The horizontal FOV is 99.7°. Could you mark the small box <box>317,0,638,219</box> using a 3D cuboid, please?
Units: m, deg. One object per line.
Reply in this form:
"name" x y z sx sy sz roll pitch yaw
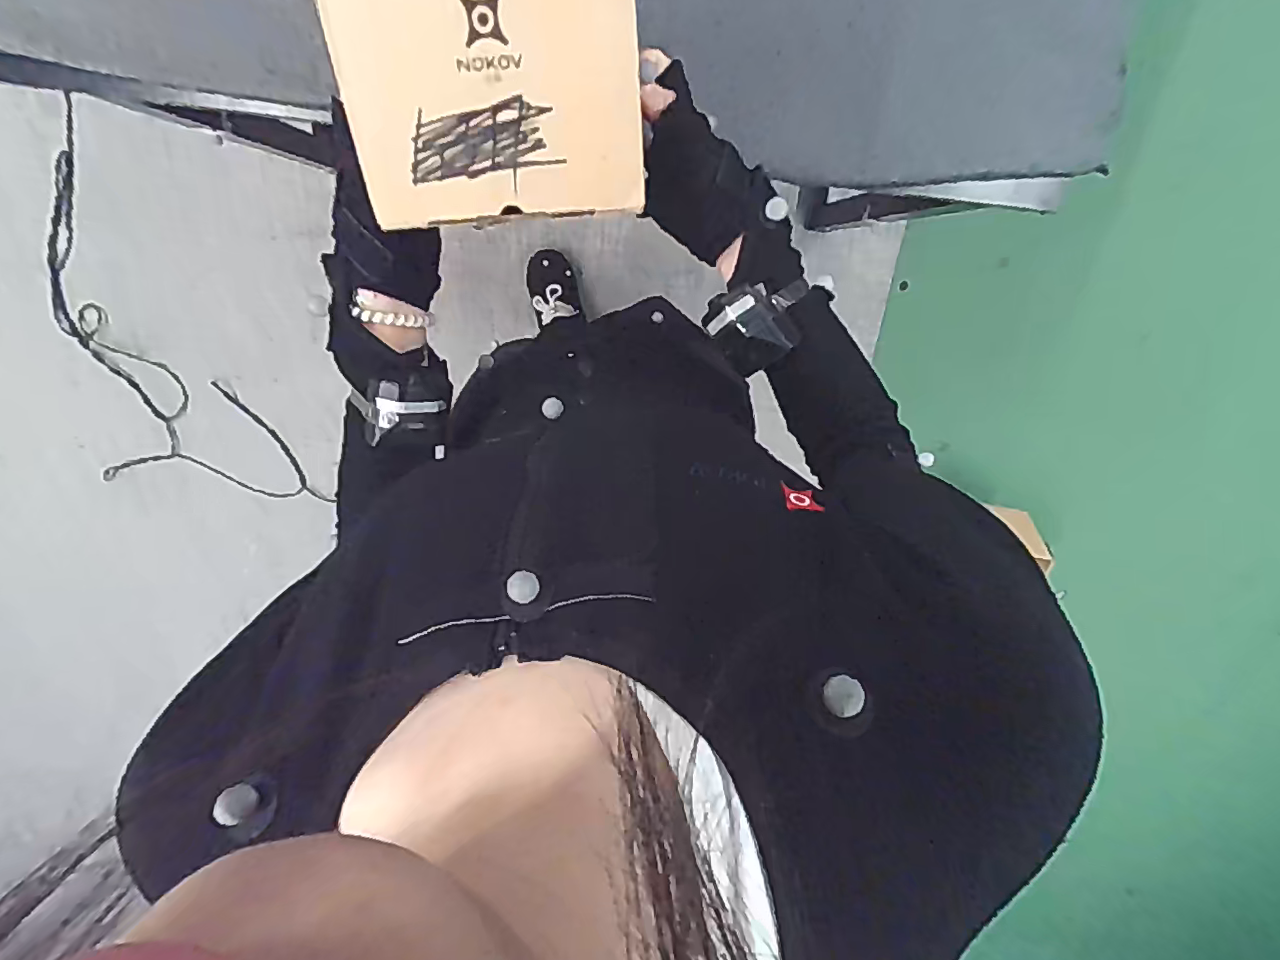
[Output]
"small box" -0.089 -0.278 0.357 0.168 0.176 0.179 -5 119 -2
